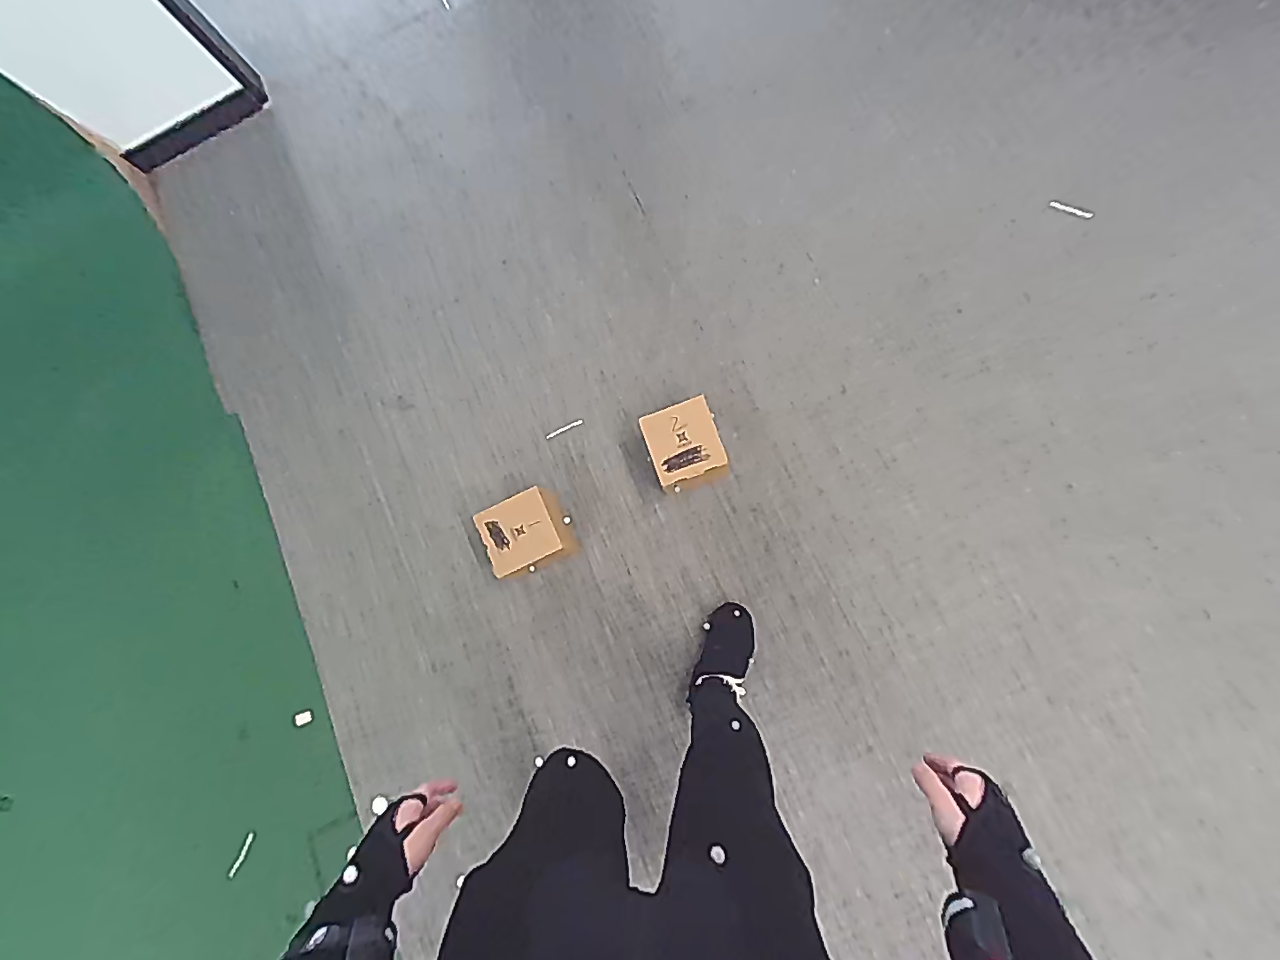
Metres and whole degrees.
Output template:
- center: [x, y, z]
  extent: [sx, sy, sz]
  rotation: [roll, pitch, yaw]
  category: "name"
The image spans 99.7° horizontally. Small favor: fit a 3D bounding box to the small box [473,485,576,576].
- center: [-0.282, 0.133, 1.354]
  extent: [0.179, 0.176, 0.168]
  rotation: [-25, 79, 2]
  category: "small box"
